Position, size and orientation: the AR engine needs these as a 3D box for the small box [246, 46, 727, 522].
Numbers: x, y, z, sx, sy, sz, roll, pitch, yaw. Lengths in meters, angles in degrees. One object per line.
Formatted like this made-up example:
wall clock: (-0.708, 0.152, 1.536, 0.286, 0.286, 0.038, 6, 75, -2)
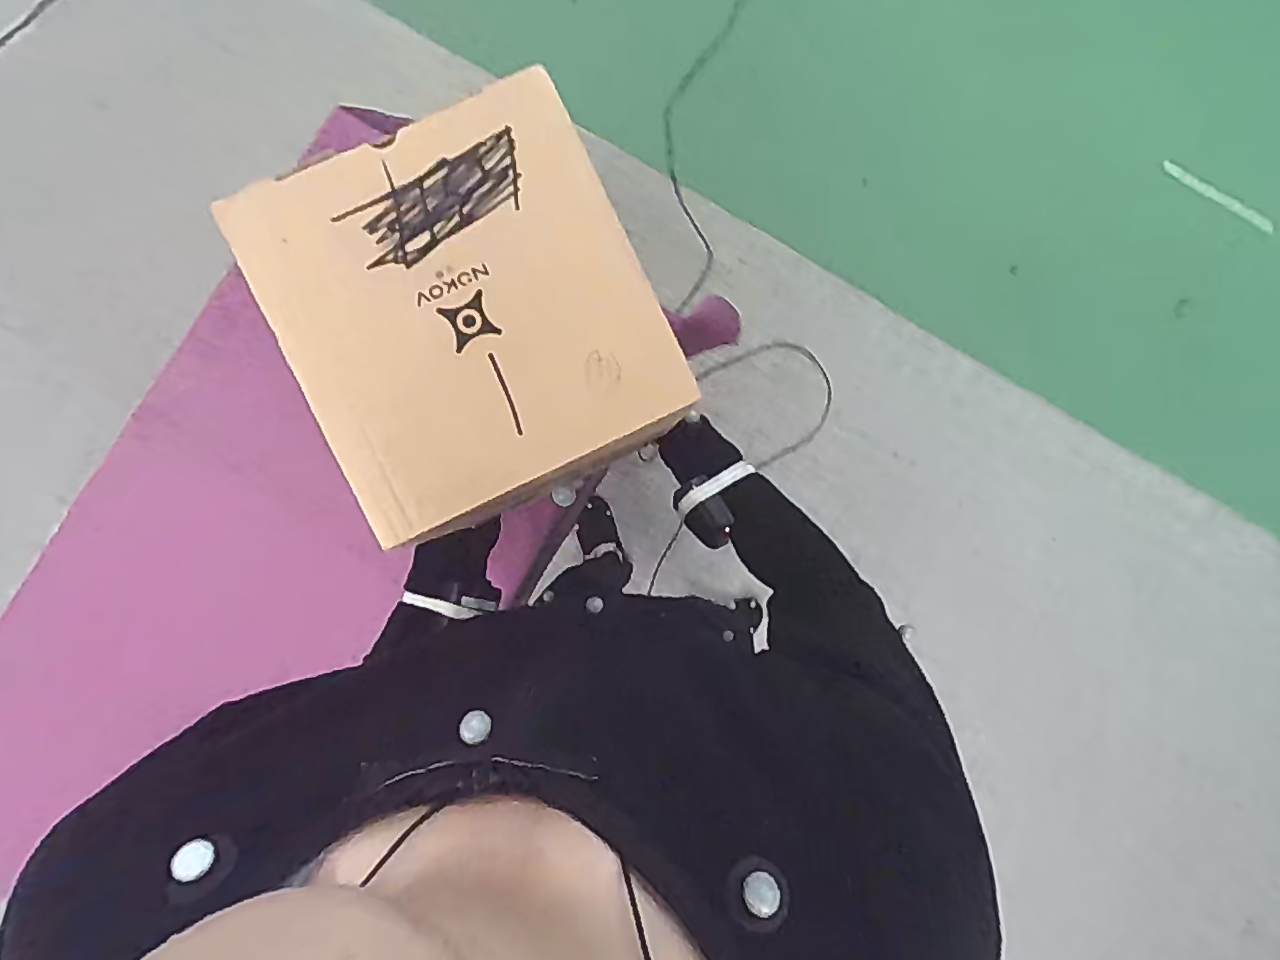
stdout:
small box: (-0.072, -0.089, 0.325, 0.168, 0.176, 0.179, -26, 92, -3)
